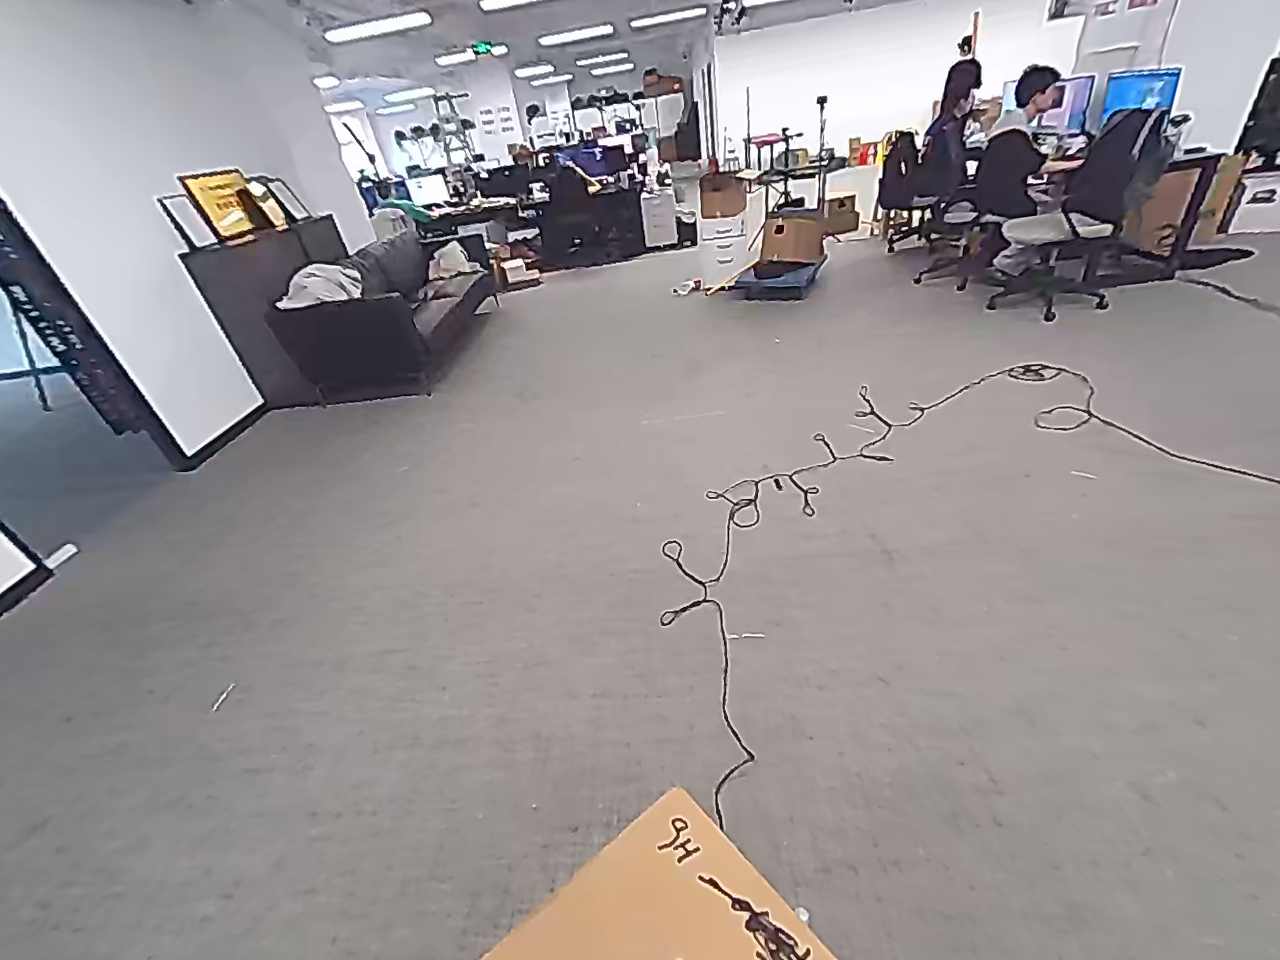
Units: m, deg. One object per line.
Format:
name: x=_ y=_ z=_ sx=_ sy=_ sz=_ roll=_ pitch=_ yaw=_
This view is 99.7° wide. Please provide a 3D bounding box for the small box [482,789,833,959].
small box: x=0.015 y=0.347 z=0.326 sx=0.179 sy=0.176 sz=0.168 roll=-25 pitch=39 yaw=-32
